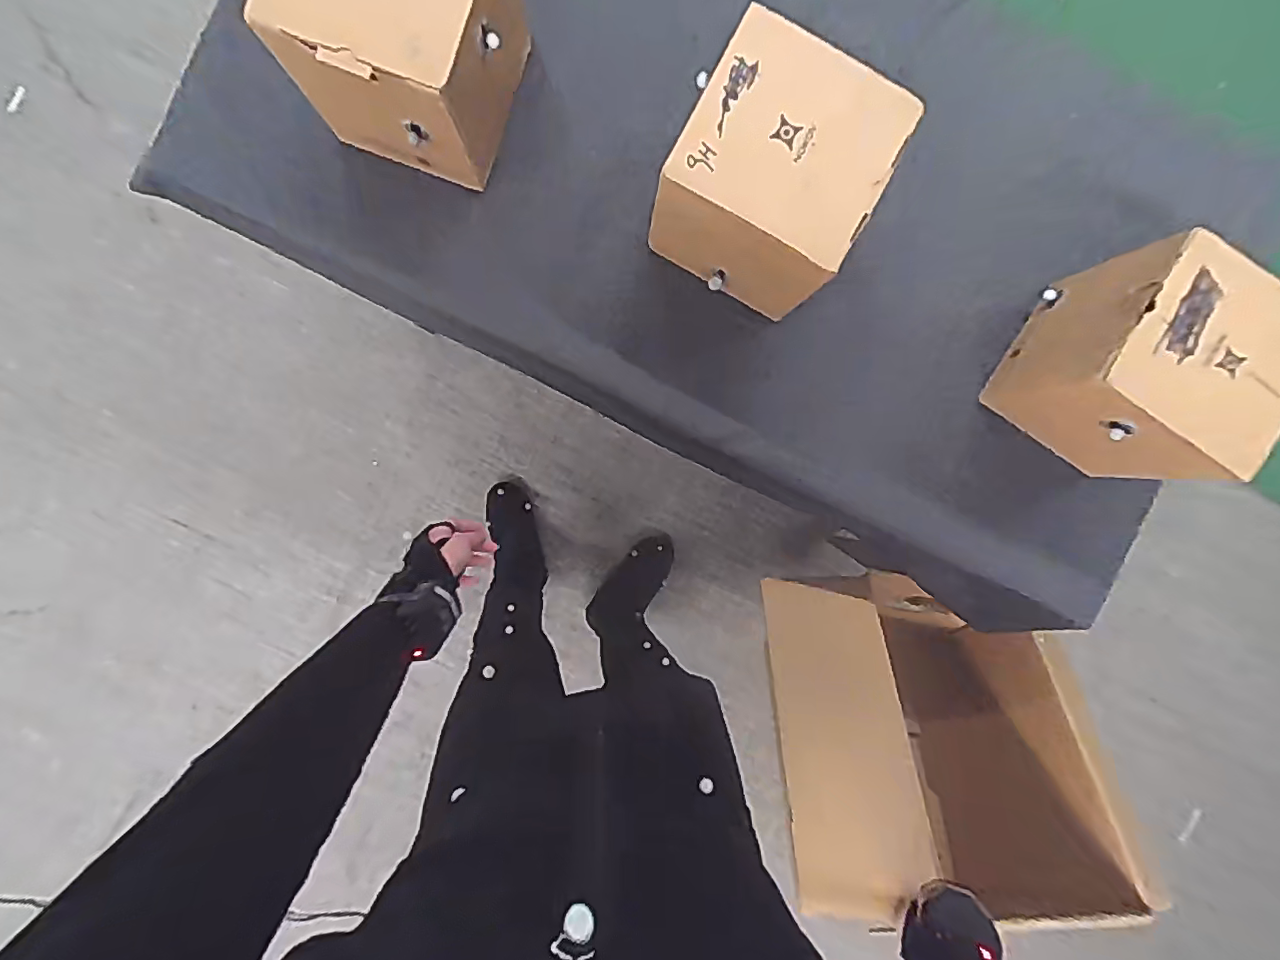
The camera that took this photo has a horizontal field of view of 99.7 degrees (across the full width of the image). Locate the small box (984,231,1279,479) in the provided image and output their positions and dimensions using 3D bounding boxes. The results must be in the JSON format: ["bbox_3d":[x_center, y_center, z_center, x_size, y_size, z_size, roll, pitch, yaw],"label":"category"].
[{"bbox_3d":[0.518,-0.114,0.569,0.179,0.176,0.168,32,91,-4],"label":"small box"}]

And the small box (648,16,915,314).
[{"bbox_3d":[0.123,-0.288,0.546,0.179,0.176,0.168,28,90,-4],"label":"small box"}]

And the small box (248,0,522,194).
[{"bbox_3d":[-0.222,-0.418,0.524,0.168,0.176,0.179,18,89,-5],"label":"small box"}]
